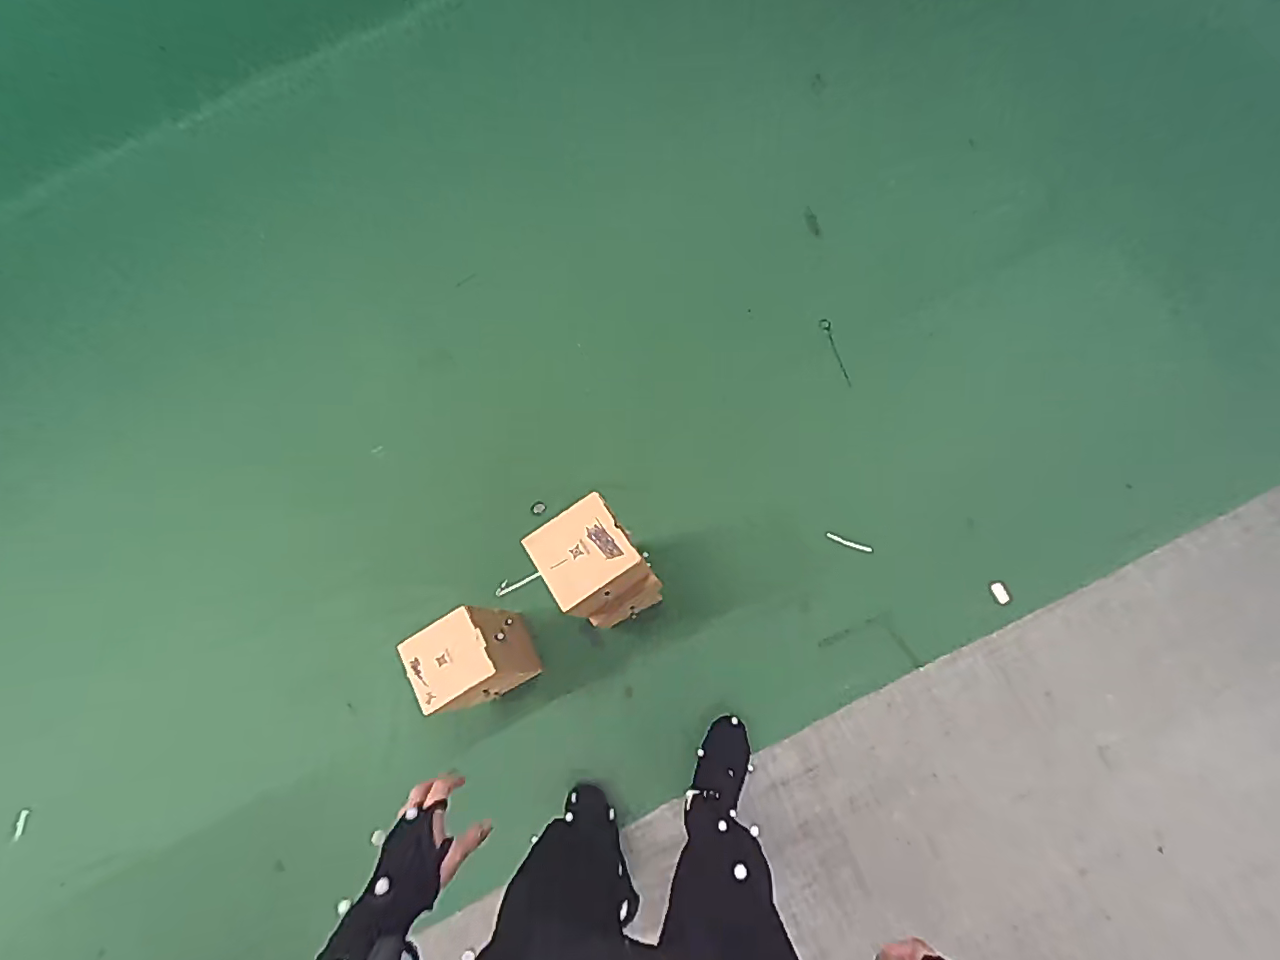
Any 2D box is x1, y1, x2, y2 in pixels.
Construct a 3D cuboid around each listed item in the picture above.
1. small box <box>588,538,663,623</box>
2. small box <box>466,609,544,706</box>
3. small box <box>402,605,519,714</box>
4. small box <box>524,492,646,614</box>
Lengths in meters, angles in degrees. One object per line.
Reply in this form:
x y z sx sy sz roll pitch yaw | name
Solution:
-0.066 0.213 1.238 0.168 0.176 0.179 -36 72 -3 | small box
-0.368 0.449 1.385 0.168 0.176 0.179 -29 71 0 | small box
-0.396 0.403 1.231 0.179 0.176 0.168 -31 71 -2 | small box
-0.100 0.152 1.087 0.179 0.176 0.168 -34 72 -2 | small box
